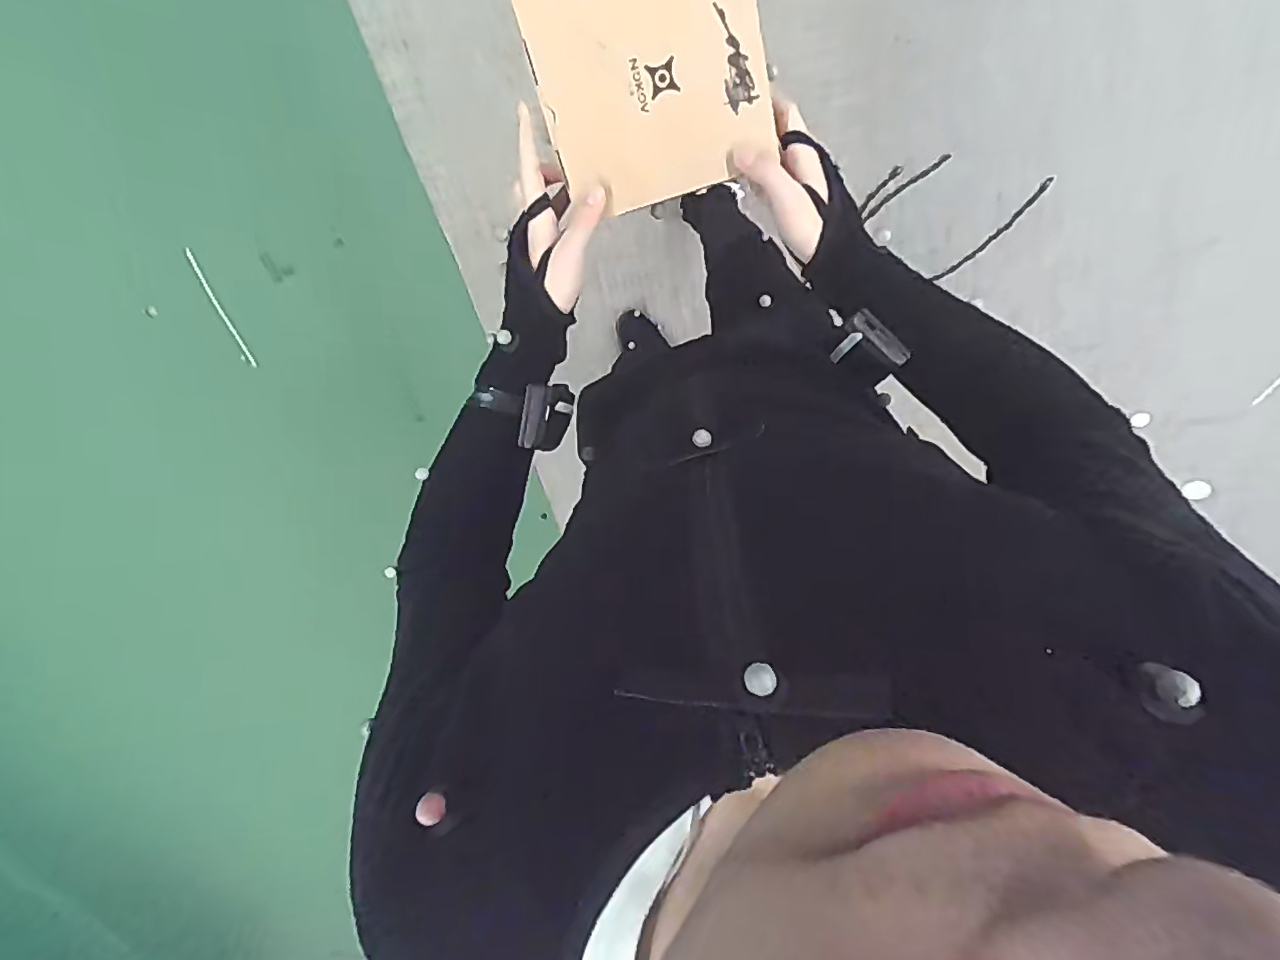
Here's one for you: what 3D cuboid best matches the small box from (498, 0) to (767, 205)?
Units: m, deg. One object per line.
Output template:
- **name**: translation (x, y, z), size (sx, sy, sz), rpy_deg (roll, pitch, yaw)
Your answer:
- **small box**: translation (-0.001, -0.343, 0.464), size (0.179, 0.176, 0.168), rpy_deg (-12, 116, 6)
